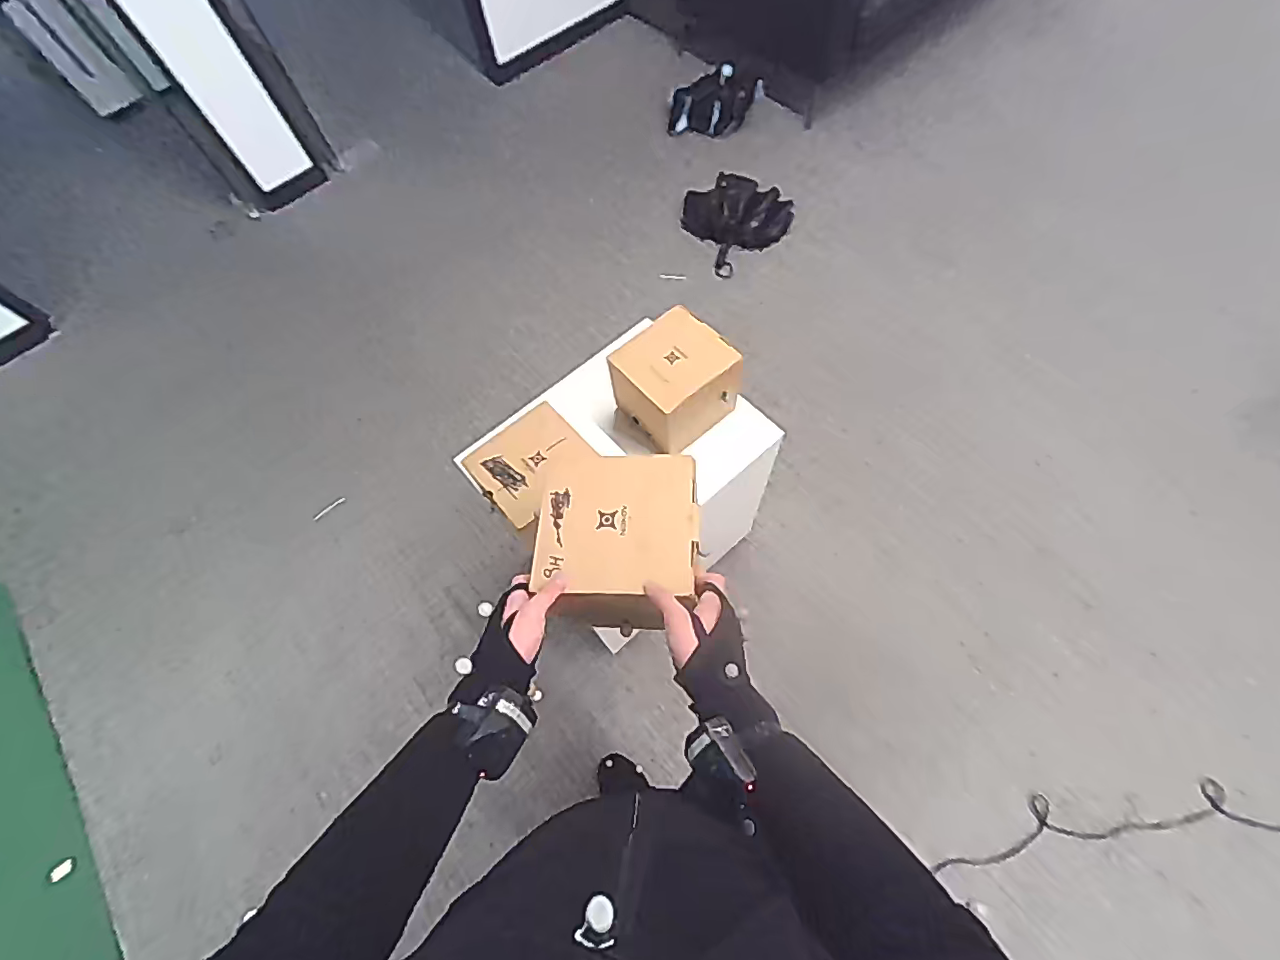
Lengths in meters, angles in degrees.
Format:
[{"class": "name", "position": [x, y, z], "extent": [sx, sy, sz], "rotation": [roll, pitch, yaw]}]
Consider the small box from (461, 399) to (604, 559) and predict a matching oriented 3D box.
[{"class": "small box", "position": [-0.163, 0.006, 0.911], "extent": [0.179, 0.176, 0.168], "rotation": [-39, 69, -17]}]

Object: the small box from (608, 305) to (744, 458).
[{"class": "small box", "position": [0.064, -0.174, 0.987], "extent": [0.179, 0.176, 0.168], "rotation": [-38, 68, -13]}]

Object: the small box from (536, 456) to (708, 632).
[{"class": "small box", "position": [-0.010, 0.084, 0.656], "extent": [0.179, 0.176, 0.168], "rotation": [1, 63, 7]}]
